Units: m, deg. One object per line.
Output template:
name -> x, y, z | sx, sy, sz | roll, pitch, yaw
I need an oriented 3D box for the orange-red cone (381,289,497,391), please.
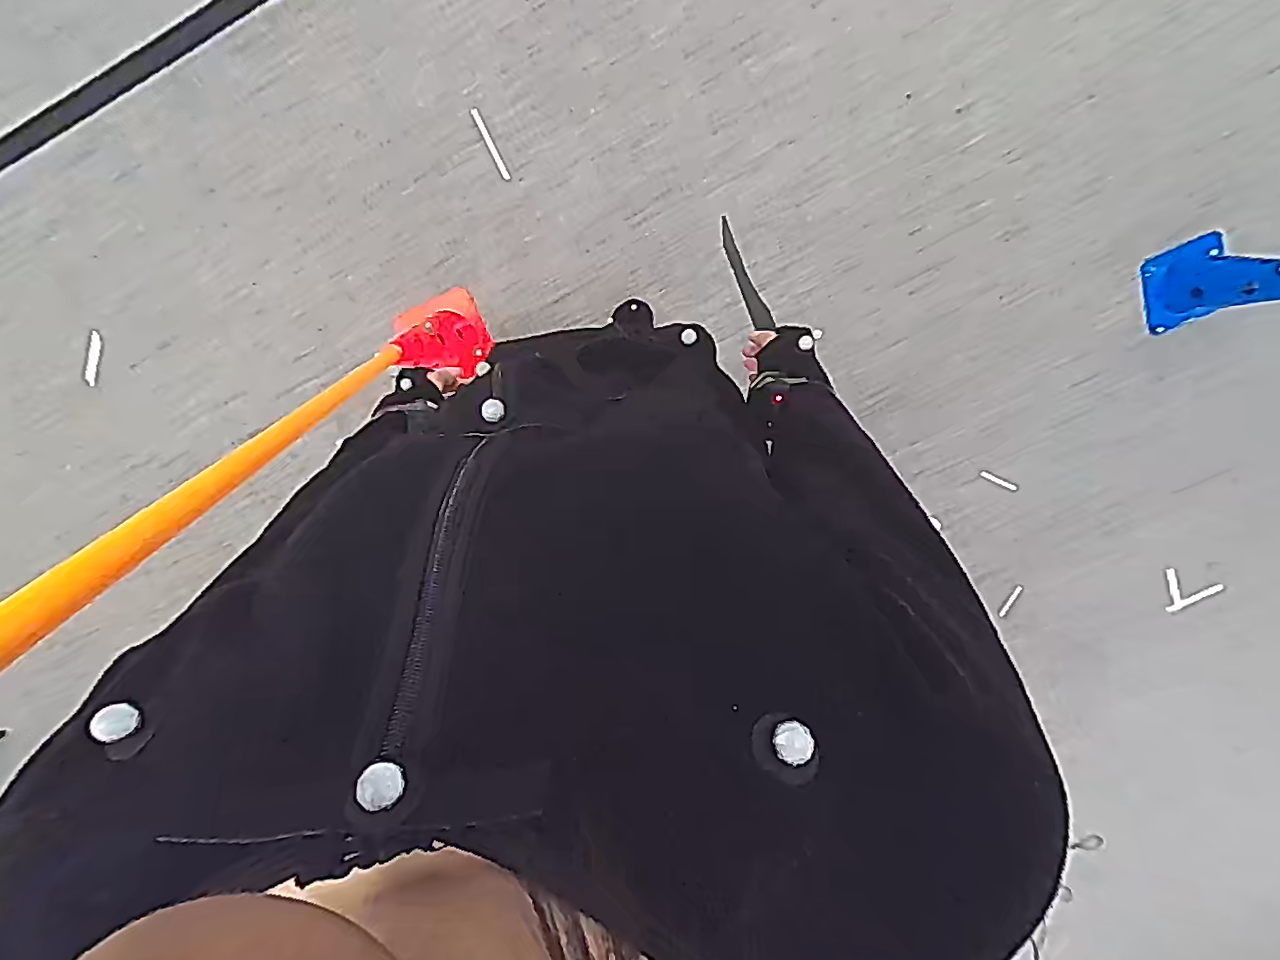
orange-red cone -> -0.458, -0.283, 1.139 | 0.198, 0.360, 0.199 | -22, 107, 4

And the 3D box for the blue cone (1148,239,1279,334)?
blue cone -> 1.381, -0.436, 1.202 | 0.193, 0.380, 0.192 | -22, 108, 5
